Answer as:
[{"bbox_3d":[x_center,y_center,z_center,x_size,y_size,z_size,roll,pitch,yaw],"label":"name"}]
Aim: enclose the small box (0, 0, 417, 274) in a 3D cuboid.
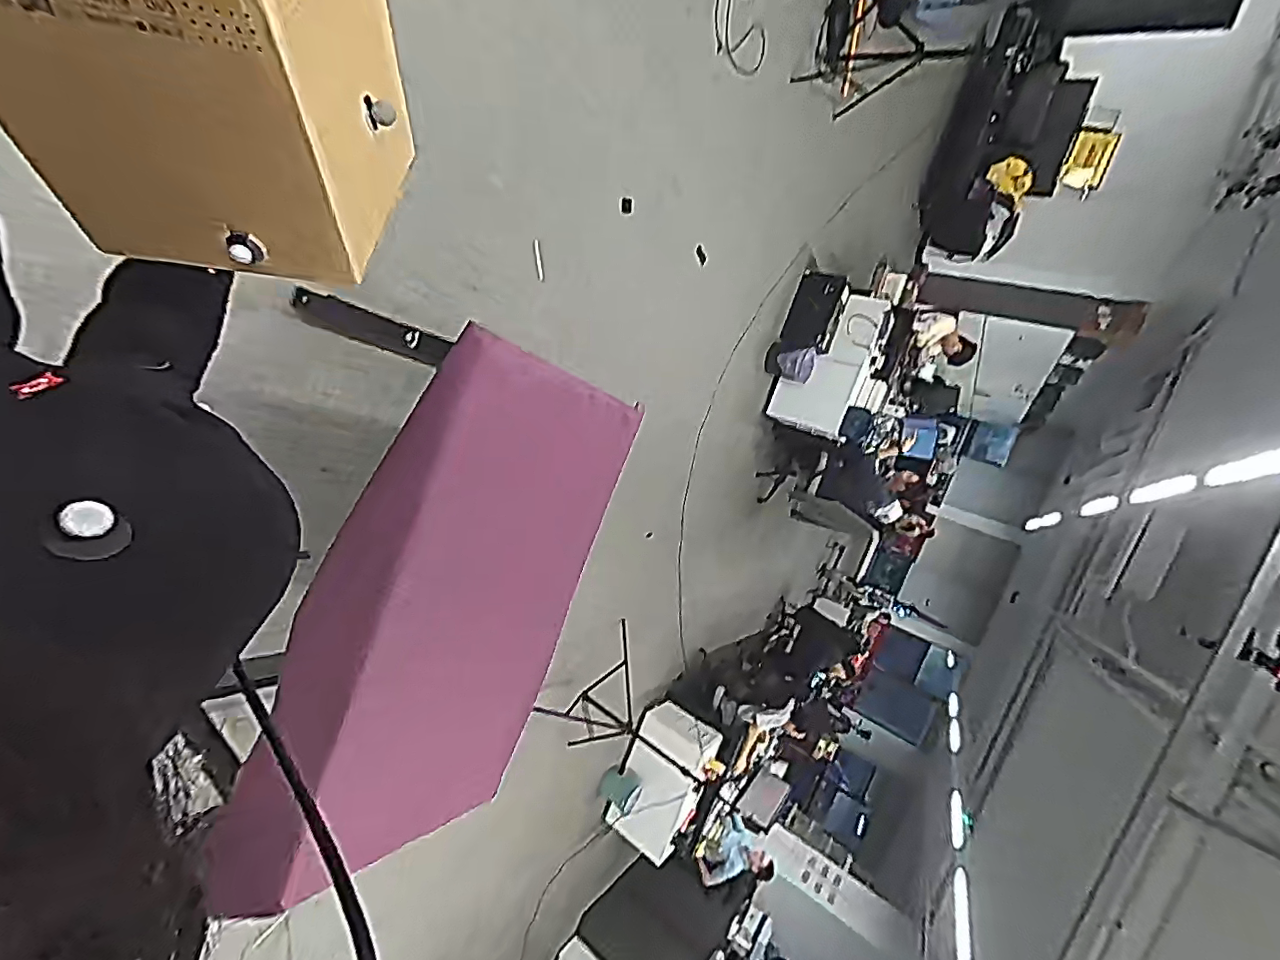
[{"bbox_3d":[-0.256,-0.265,0.339,0.176,0.168,0.179,107,-13,-58],"label":"small box"}]
